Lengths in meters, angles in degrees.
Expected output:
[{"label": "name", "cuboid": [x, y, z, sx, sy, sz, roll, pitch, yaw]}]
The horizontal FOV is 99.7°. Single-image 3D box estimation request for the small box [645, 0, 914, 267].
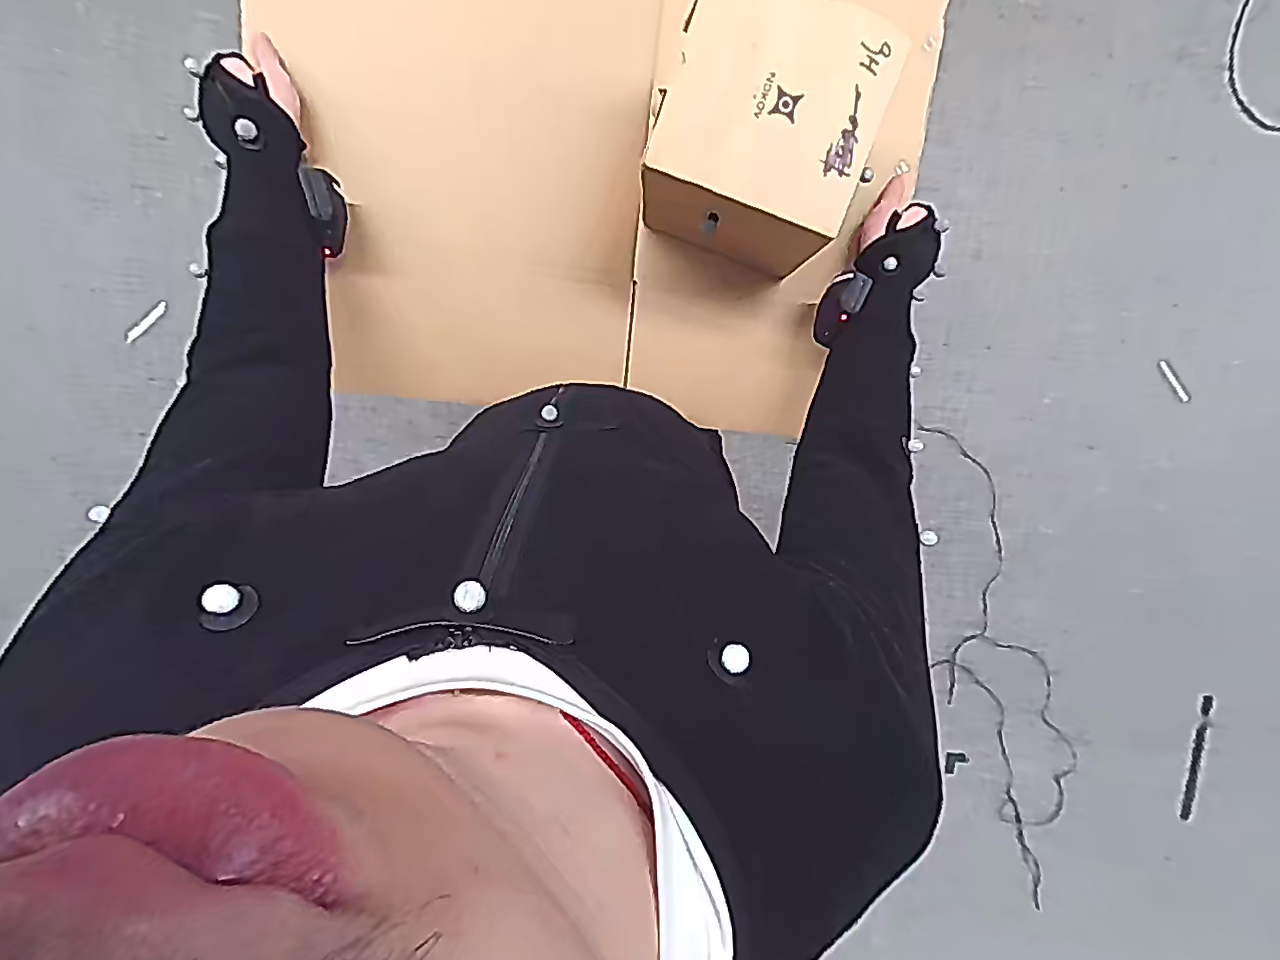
[{"label": "small box", "cuboid": [0.114, -0.325, 0.520, 0.179, 0.176, 0.168, 20, 99, -2]}]
